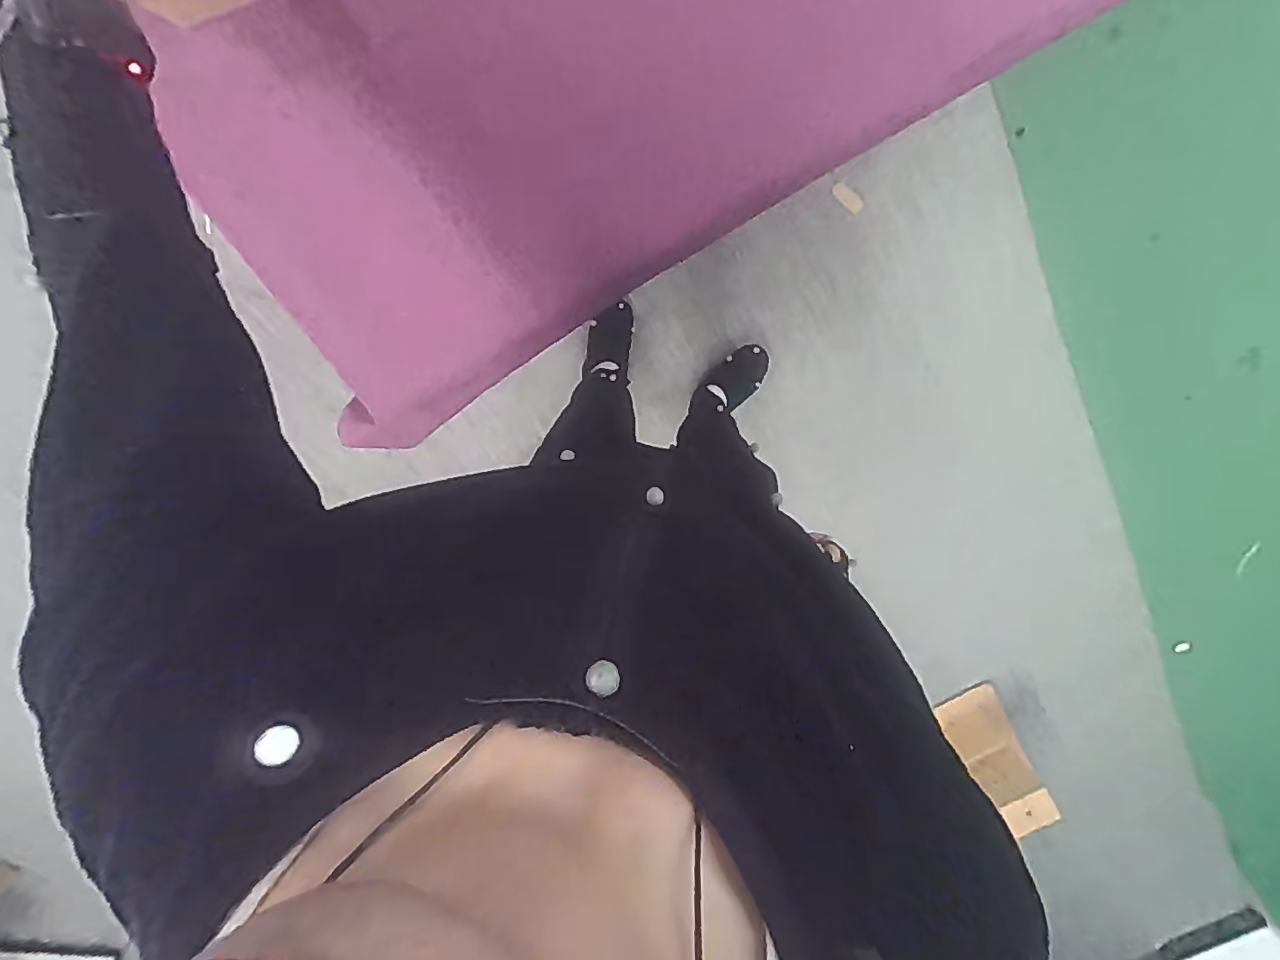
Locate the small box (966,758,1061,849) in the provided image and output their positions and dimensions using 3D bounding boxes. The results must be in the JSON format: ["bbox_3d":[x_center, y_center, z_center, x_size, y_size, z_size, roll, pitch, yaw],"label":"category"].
[{"bbox_3d":[1.200,1.033,1.748,0.168,0.176,0.179,-33,110,9],"label":"small box"}]

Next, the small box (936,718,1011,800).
[{"bbox_3d":[1.183,0.970,1.899,0.168,0.176,0.179,-33,111,9],"label":"small box"}]
